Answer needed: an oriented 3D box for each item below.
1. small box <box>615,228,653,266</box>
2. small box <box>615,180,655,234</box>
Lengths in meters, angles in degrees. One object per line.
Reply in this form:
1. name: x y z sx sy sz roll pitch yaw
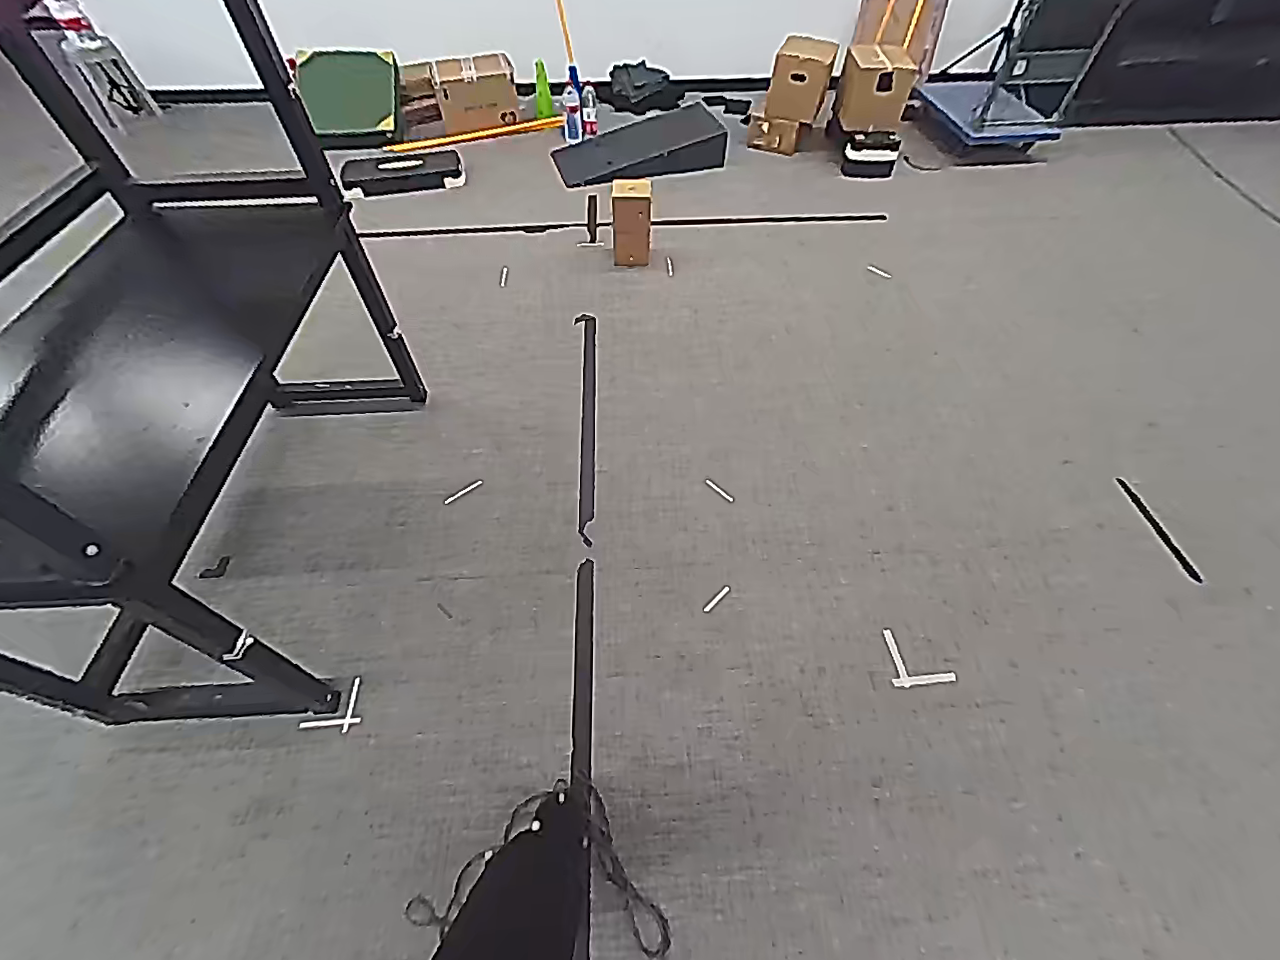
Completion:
1. small box: -0.031 -1.155 2.615 0.179 0.176 0.168 0 53 -2
2. small box: -0.024 -1.252 2.484 0.179 0.176 0.168 1 53 1
